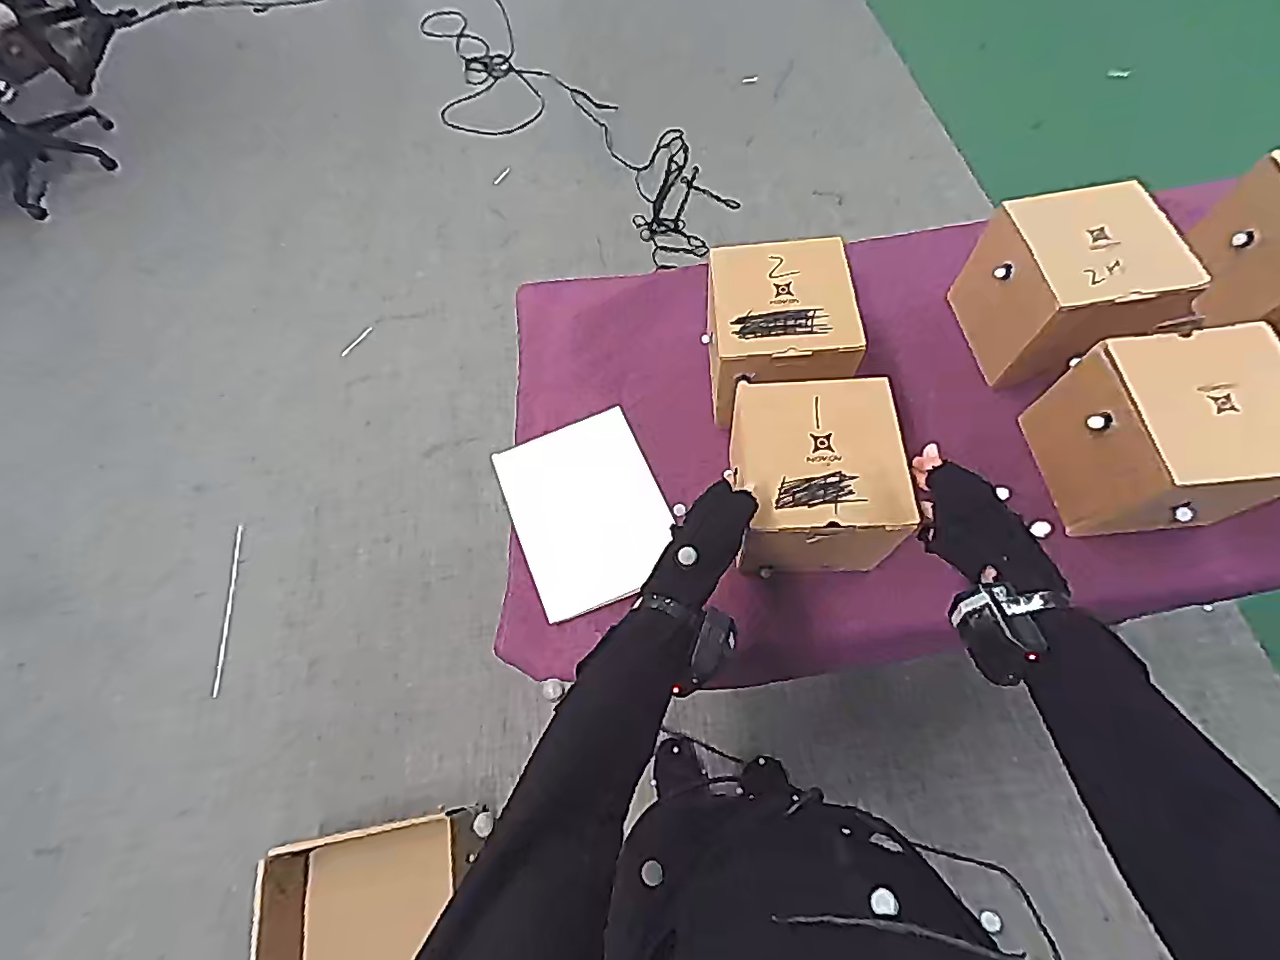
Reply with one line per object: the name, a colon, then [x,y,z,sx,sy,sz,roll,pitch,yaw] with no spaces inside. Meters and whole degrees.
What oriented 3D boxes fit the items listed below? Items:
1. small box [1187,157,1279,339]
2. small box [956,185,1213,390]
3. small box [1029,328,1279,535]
small box: [0.859,-0.286,0.692,0.168,0.176,0.179,-4,66,5]
small box: [0.548,-0.242,0.704,0.168,0.176,0.179,-7,66,3]
small box: [0.593,-0.042,0.613,0.168,0.176,0.179,-6,66,4]
